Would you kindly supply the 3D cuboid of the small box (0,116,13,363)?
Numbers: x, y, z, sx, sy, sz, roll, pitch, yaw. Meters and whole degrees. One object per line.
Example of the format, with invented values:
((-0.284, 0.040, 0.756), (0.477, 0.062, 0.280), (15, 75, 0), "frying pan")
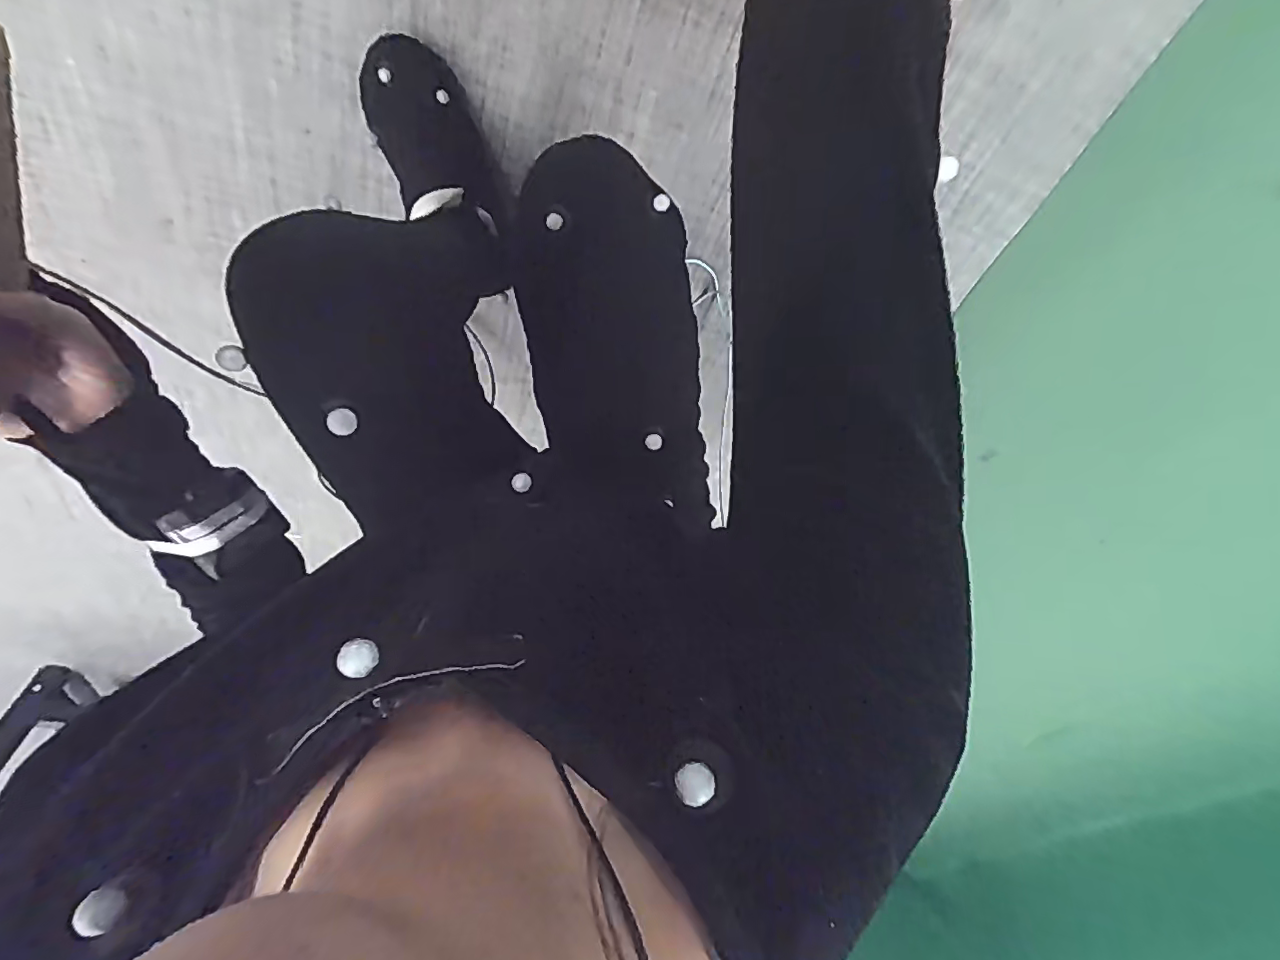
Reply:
((-0.324, -0.076, 0.144), (0.168, 0.176, 0.179), (14, 131, -35), "small box")
